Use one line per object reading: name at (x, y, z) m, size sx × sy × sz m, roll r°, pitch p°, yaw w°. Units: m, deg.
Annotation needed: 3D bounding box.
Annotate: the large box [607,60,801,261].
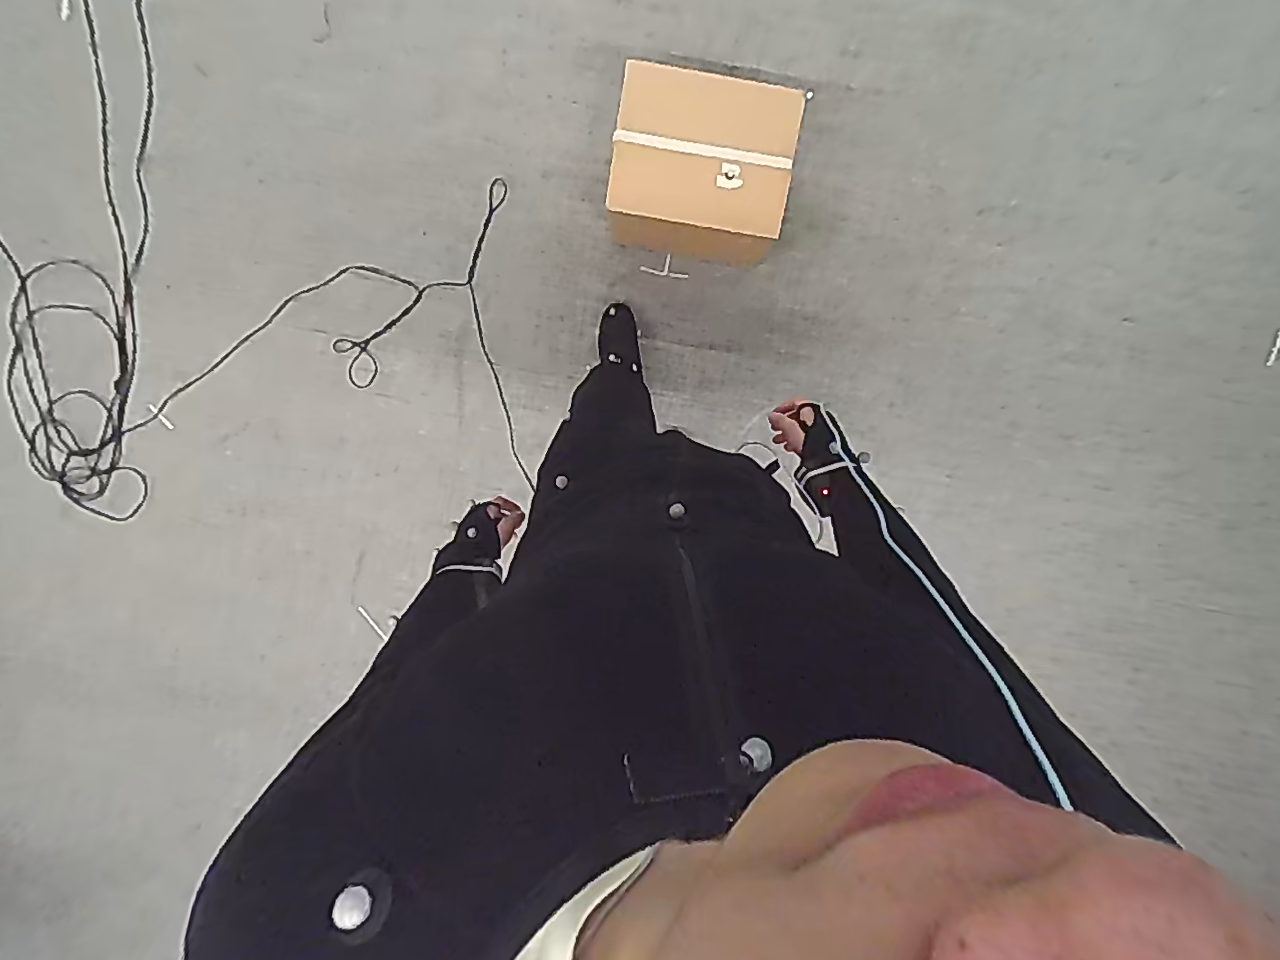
large box at (0.139, -0.771, 1.358) m, size 0.408 × 0.320 × 0.320 m, roll 8°, pitch 100°, yaw -1°
